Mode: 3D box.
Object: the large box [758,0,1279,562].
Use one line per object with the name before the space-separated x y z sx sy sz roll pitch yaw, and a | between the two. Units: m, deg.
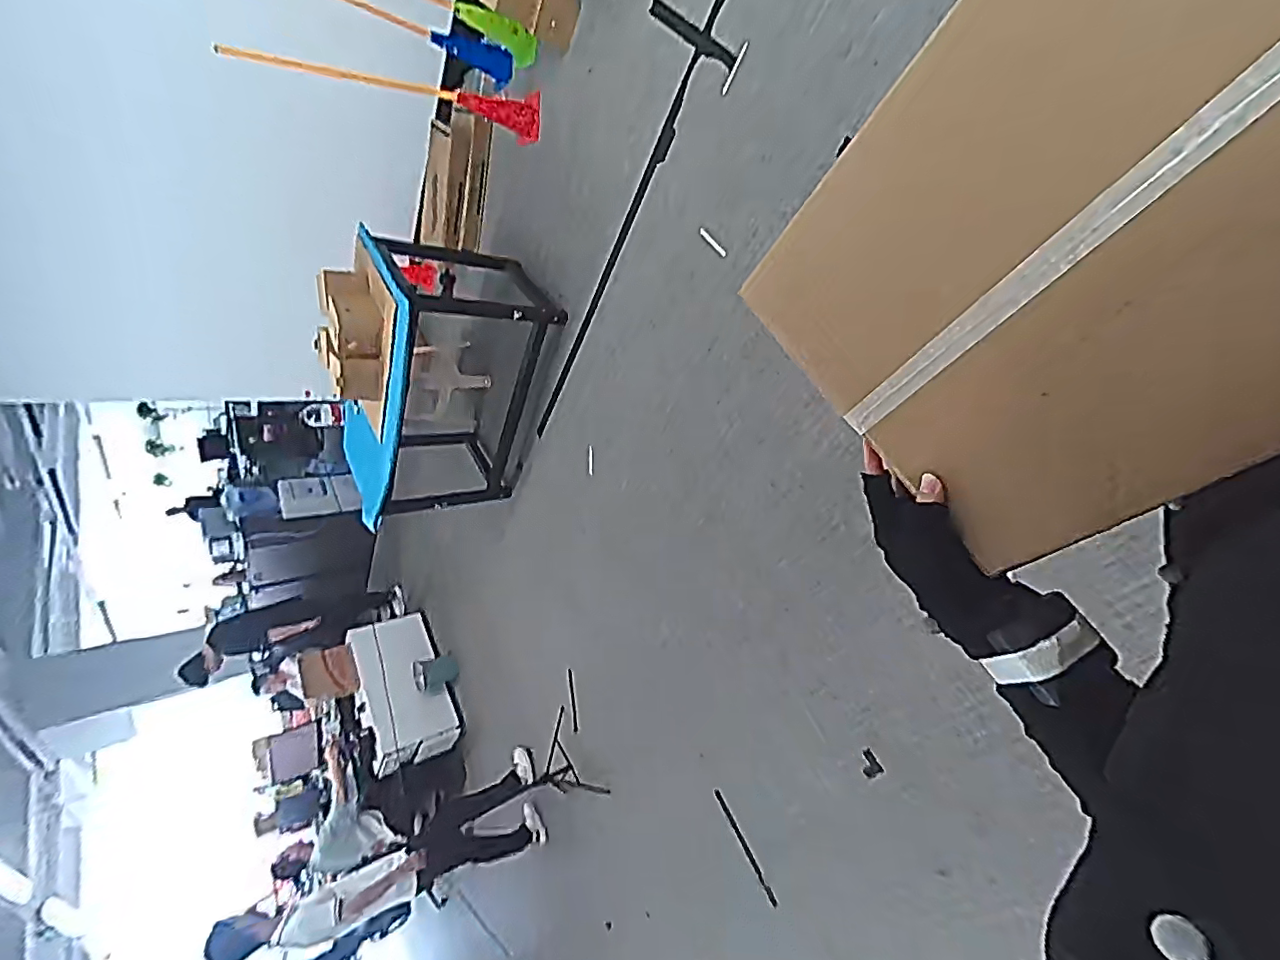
large box | 0.379 -0.202 0.418 0.320 0.320 0.408 54 137 13
